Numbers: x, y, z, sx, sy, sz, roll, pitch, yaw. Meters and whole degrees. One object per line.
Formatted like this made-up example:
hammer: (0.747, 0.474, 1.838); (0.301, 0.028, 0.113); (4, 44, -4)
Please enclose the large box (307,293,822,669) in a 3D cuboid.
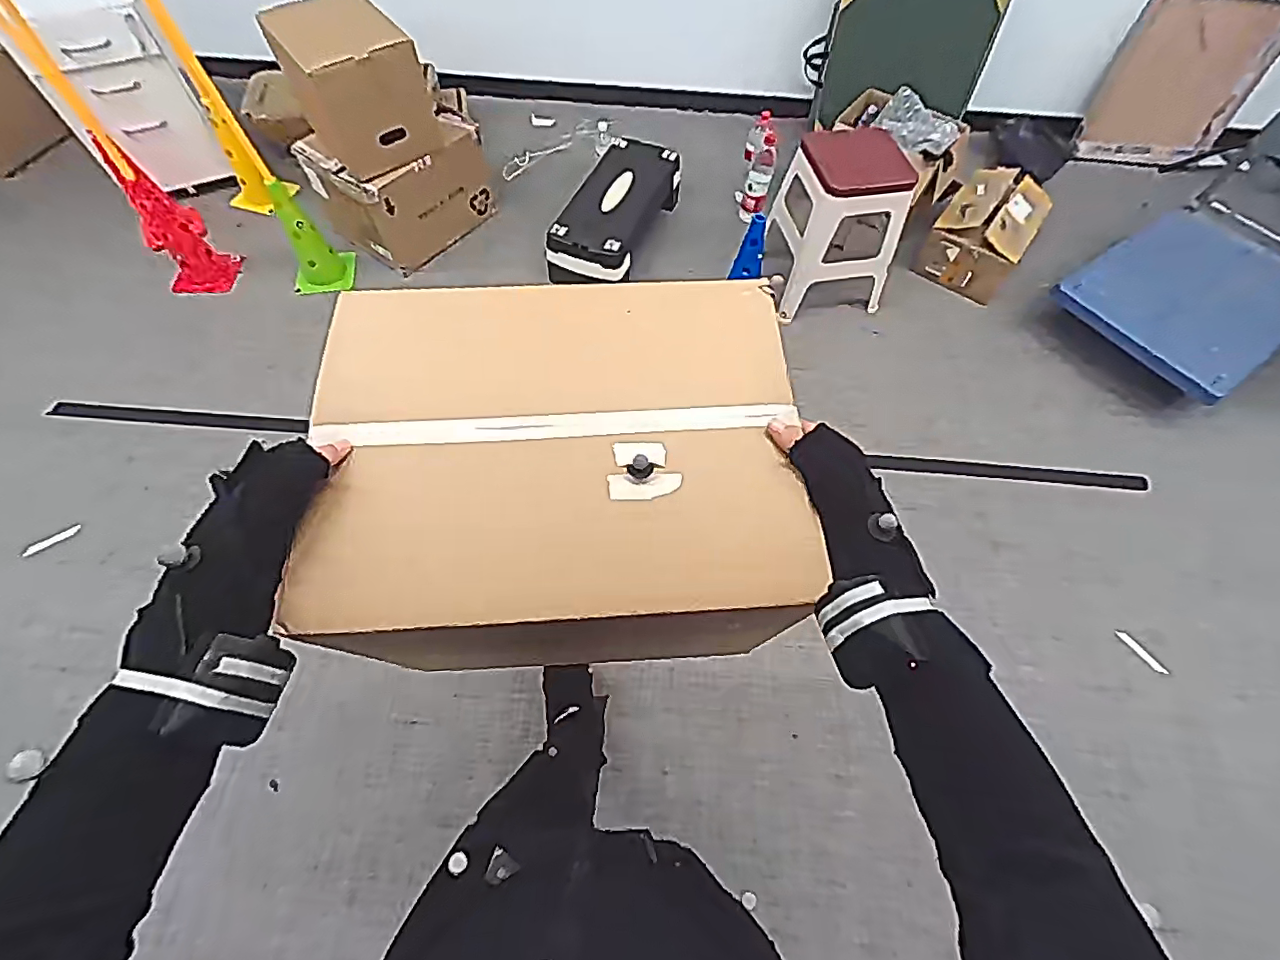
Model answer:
large box: (-0.069, 0.022, 0.609); (0.408, 0.320, 0.320); (-3, 66, -3)
